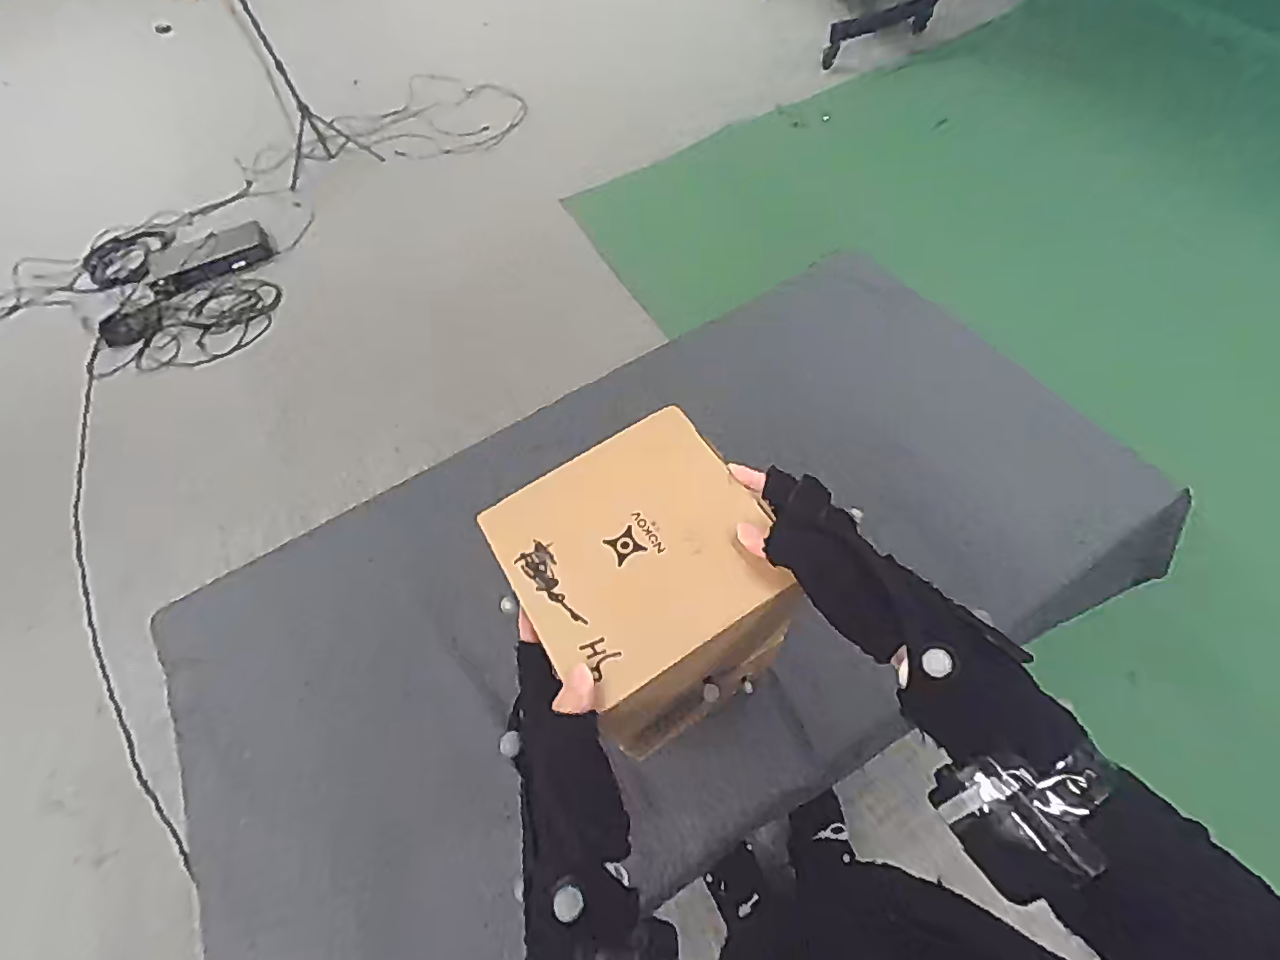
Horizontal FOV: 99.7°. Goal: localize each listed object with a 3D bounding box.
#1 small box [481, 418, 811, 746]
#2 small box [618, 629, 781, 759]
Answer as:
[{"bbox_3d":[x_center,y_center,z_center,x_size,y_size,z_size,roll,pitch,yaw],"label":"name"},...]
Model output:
[{"bbox_3d":[0.005,0.089,0.441,0.179,0.176,0.168,-33,62,-12],"label":"small box"},{"bbox_3d":[0.023,0.171,0.580,0.179,0.176,0.168,-32,61,-11],"label":"small box"}]
